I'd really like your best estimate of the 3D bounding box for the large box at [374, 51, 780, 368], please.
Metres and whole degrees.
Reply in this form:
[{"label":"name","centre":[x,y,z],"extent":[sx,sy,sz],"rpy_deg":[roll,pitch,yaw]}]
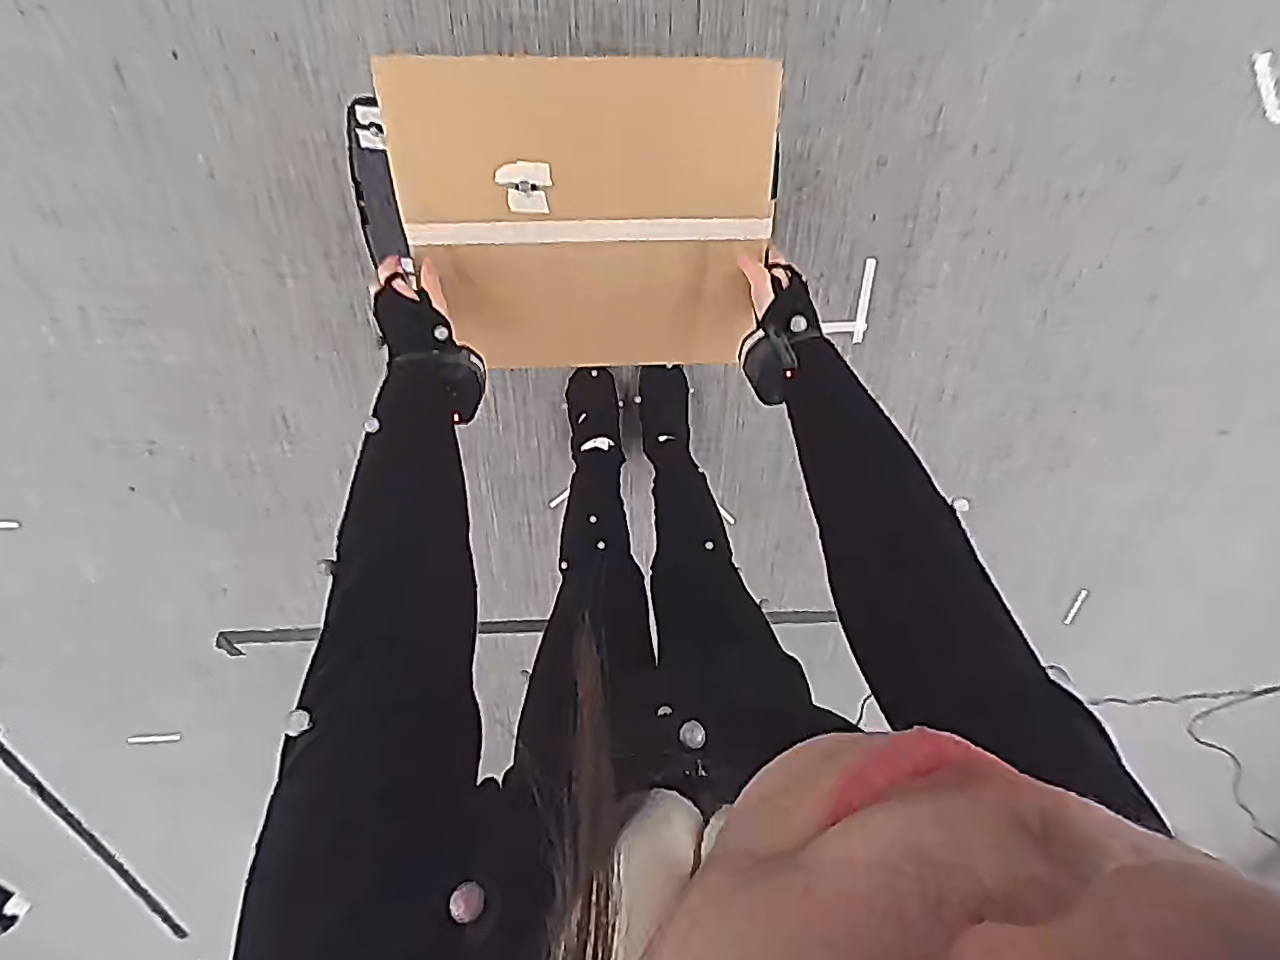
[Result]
[{"label":"large box","centre":[-0.063,-0.354,0.725],"extent":[0.408,0.320,0.320],"rpy_deg":[-2,120,-3]}]
